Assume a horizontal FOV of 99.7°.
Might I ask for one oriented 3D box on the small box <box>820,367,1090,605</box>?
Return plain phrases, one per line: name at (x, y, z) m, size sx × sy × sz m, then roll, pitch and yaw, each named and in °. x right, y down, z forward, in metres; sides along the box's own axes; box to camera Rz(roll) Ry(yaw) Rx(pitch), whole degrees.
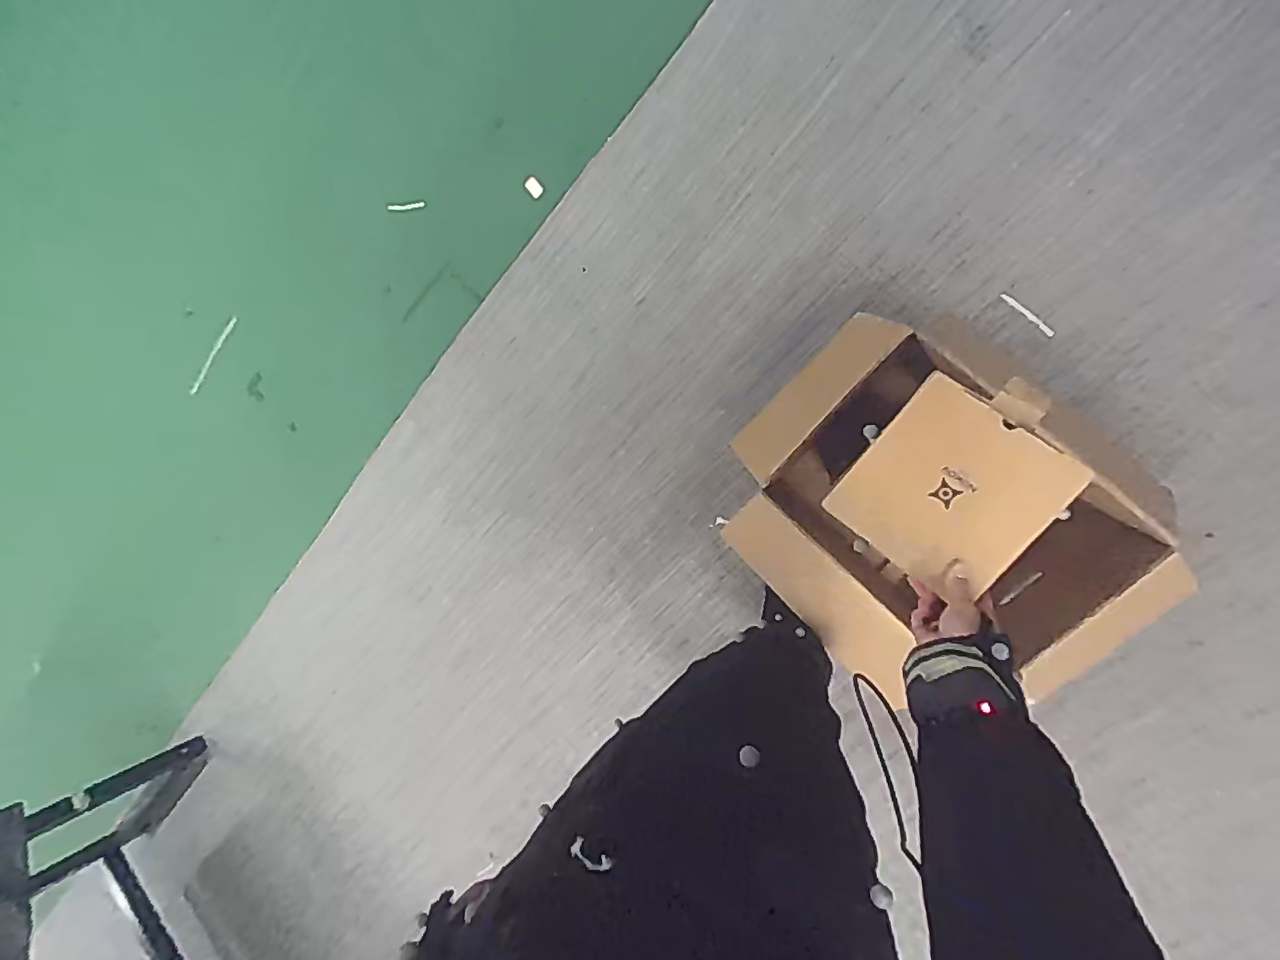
small box at (0.323, 0.012, 0.595) m, size 0.168 × 0.176 × 0.179 m, roll 41°, pitch 98°, yaw 18°
